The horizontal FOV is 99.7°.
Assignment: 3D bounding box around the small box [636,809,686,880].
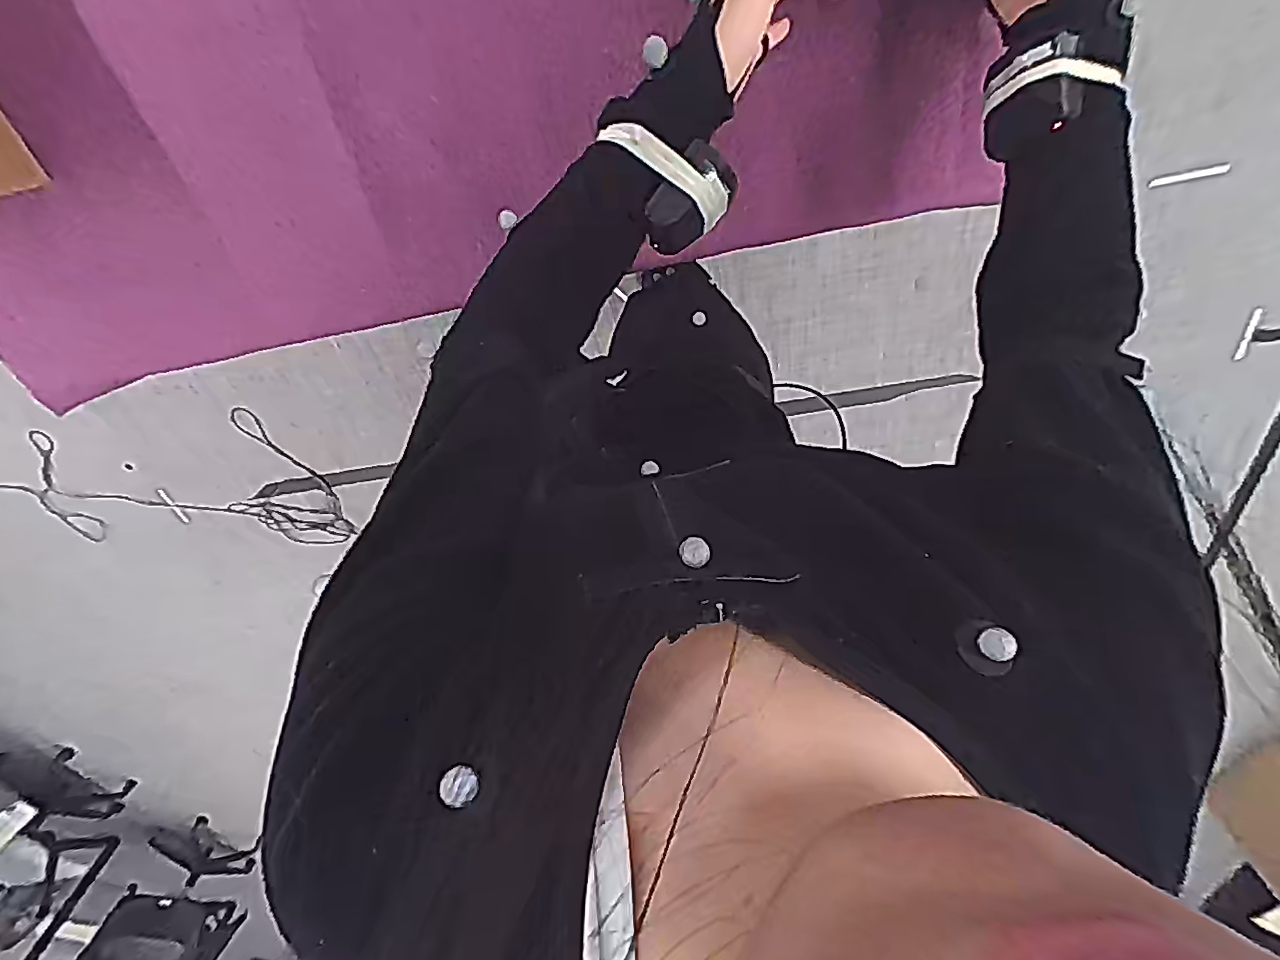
[{"bbox_3d":[0.075,1.311,1.952,0.168,0.176,0.179,-5,125,5],"label":"small box"}]
